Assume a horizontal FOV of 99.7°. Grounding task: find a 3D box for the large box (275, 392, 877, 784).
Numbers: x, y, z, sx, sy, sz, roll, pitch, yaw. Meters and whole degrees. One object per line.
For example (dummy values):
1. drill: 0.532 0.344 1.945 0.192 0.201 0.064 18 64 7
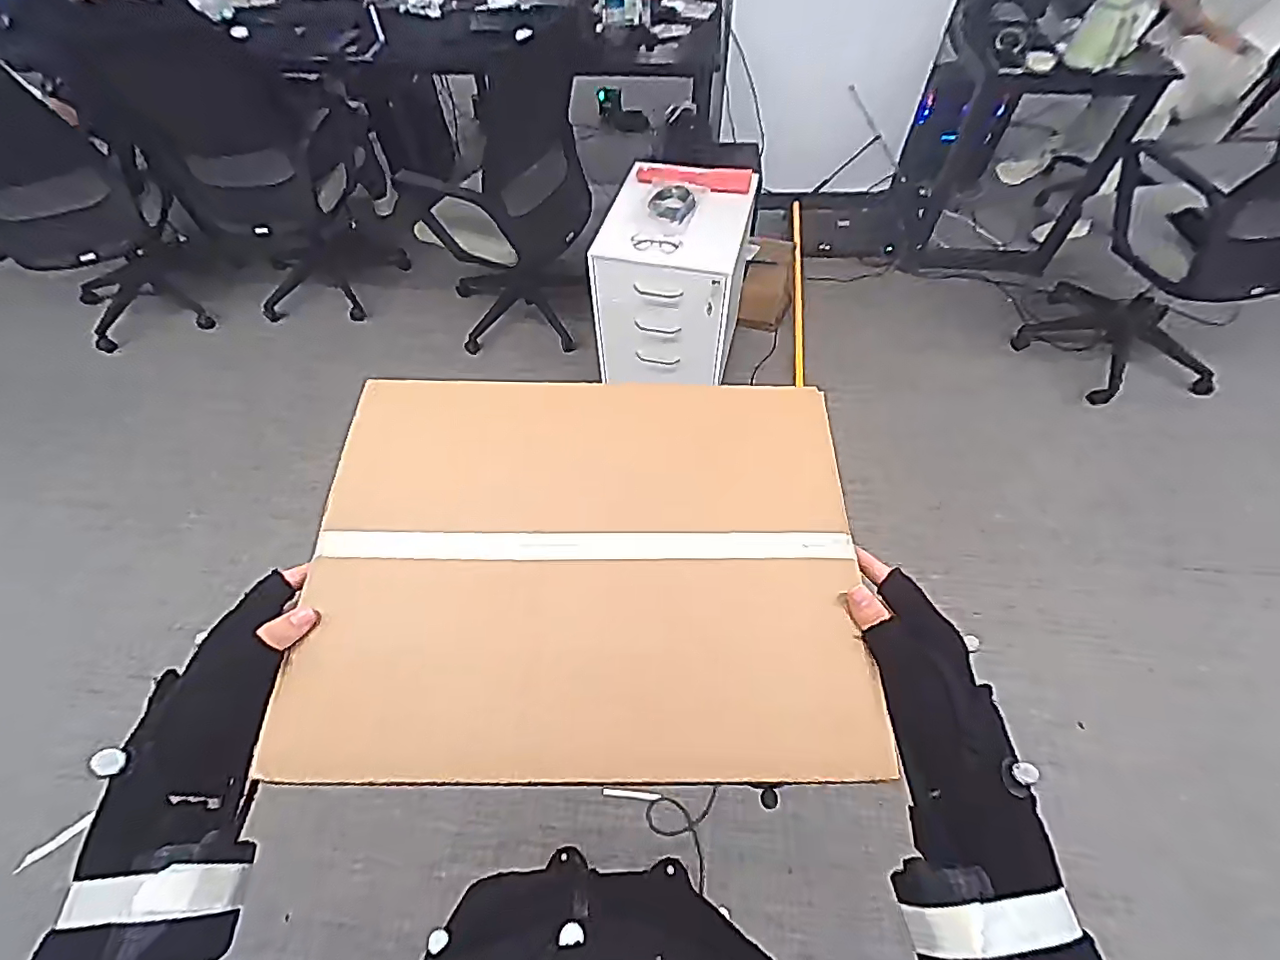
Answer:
1. large box: -0.043 0.126 0.553 0.408 0.320 0.320 1 61 -2
